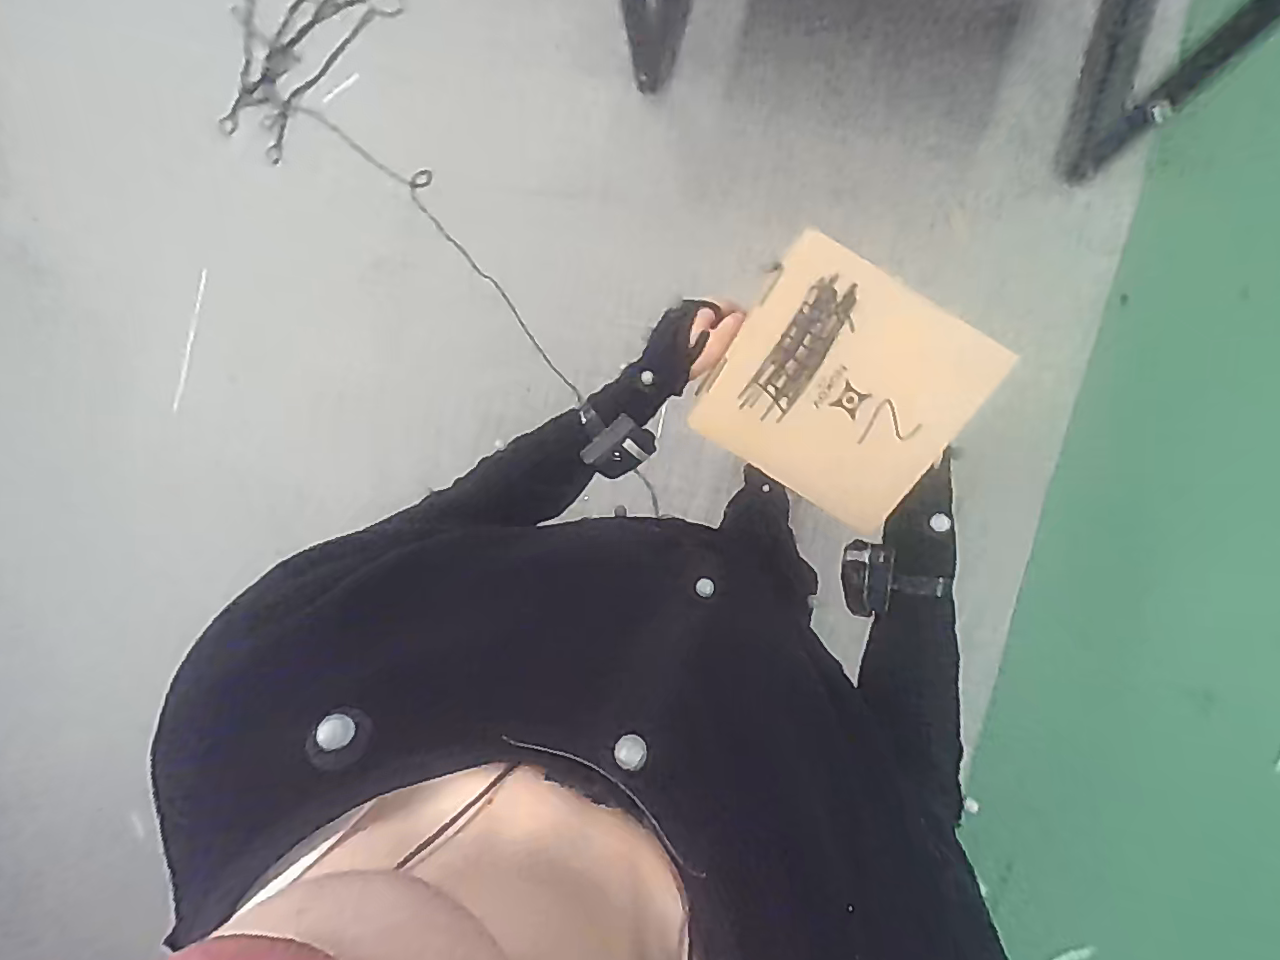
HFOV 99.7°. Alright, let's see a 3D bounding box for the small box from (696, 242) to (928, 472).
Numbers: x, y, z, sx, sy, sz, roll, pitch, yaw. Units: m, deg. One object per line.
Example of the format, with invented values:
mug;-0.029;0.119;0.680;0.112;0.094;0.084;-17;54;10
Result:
small box;0.186;-0.143;0.630;0.168;0.176;0.179;36;109;-4
